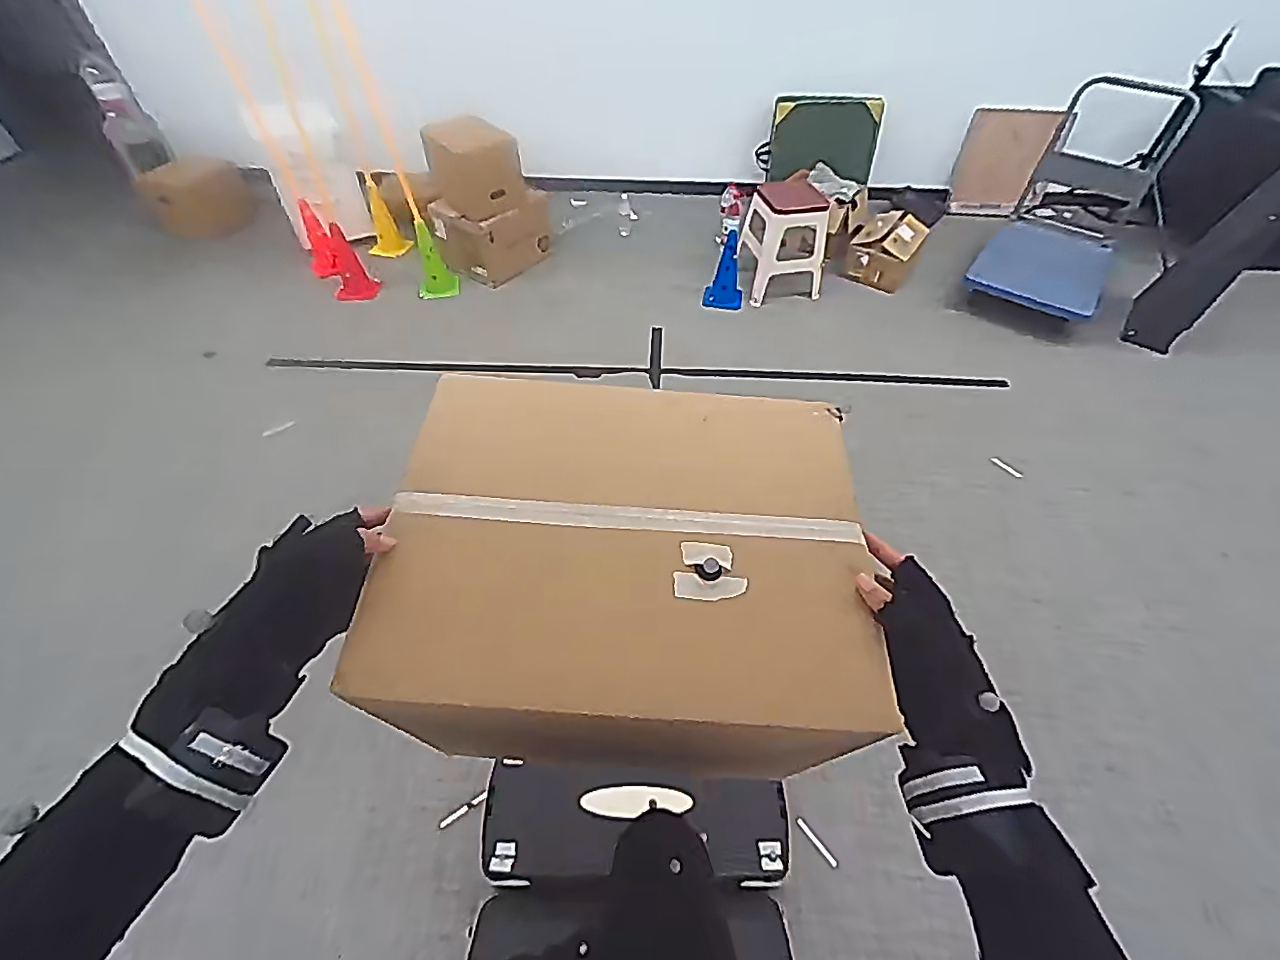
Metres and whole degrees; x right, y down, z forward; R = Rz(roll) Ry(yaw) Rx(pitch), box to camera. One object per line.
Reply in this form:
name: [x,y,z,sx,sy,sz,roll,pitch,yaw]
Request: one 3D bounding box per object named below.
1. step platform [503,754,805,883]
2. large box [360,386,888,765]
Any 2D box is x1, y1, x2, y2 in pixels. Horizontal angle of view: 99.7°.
step platform: [0.030,0.767,1.276,0.684,0.204,0.286,1,50,-2]
large box: [-0.013,0.122,0.605,0.408,0.320,0.320,4,57,-1]
